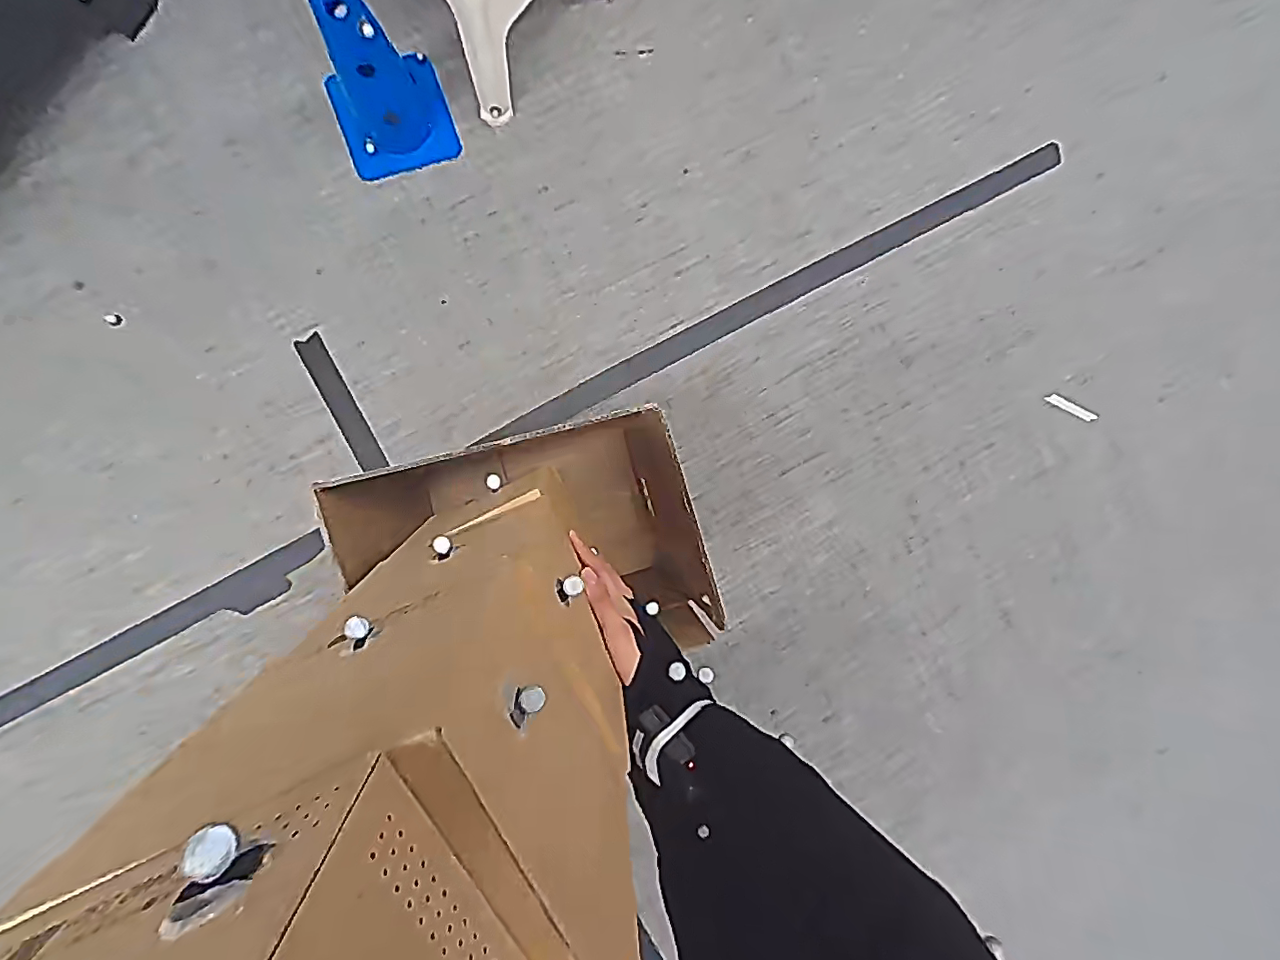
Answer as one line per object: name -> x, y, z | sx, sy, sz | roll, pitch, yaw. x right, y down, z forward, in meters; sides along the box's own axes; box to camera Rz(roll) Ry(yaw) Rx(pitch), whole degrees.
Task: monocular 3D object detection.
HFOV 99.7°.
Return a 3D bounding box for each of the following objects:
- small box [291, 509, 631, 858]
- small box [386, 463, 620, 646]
small box -> -0.119, 0.135, 0.429 | 0.168, 0.176, 0.179 | -22, 103, -1
small box -> -0.132, 0.100, 0.589 | 0.168, 0.176, 0.179 | -26, 102, 0
